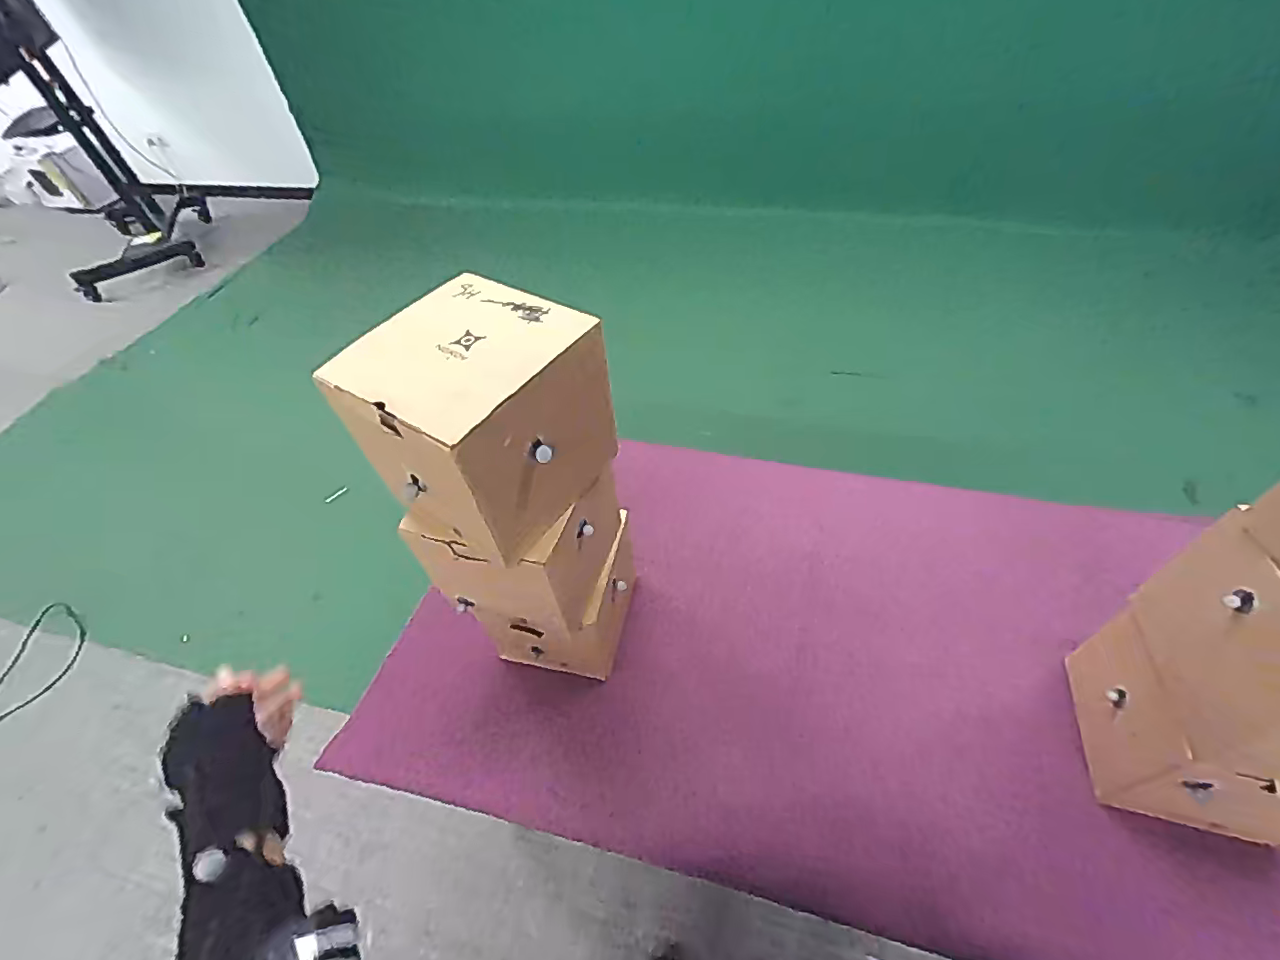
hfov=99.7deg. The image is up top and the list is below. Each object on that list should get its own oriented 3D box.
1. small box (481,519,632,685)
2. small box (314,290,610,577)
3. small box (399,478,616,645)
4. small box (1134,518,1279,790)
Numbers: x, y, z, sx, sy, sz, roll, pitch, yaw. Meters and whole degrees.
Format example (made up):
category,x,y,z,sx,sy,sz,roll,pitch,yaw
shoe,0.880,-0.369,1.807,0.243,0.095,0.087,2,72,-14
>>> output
category,x,y,z,sx,sy,sz,roll,pitch,yaw
small box,-0.109,0.162,0.760,0.168,0.176,0.179,8,52,11
small box,-0.143,-0.041,0.504,0.168,0.176,0.179,27,58,23
small box,-0.133,0.066,0.628,0.168,0.176,0.179,12,52,14
small box,0.595,0.159,0.473,0.168,0.176,0.179,6,49,11
